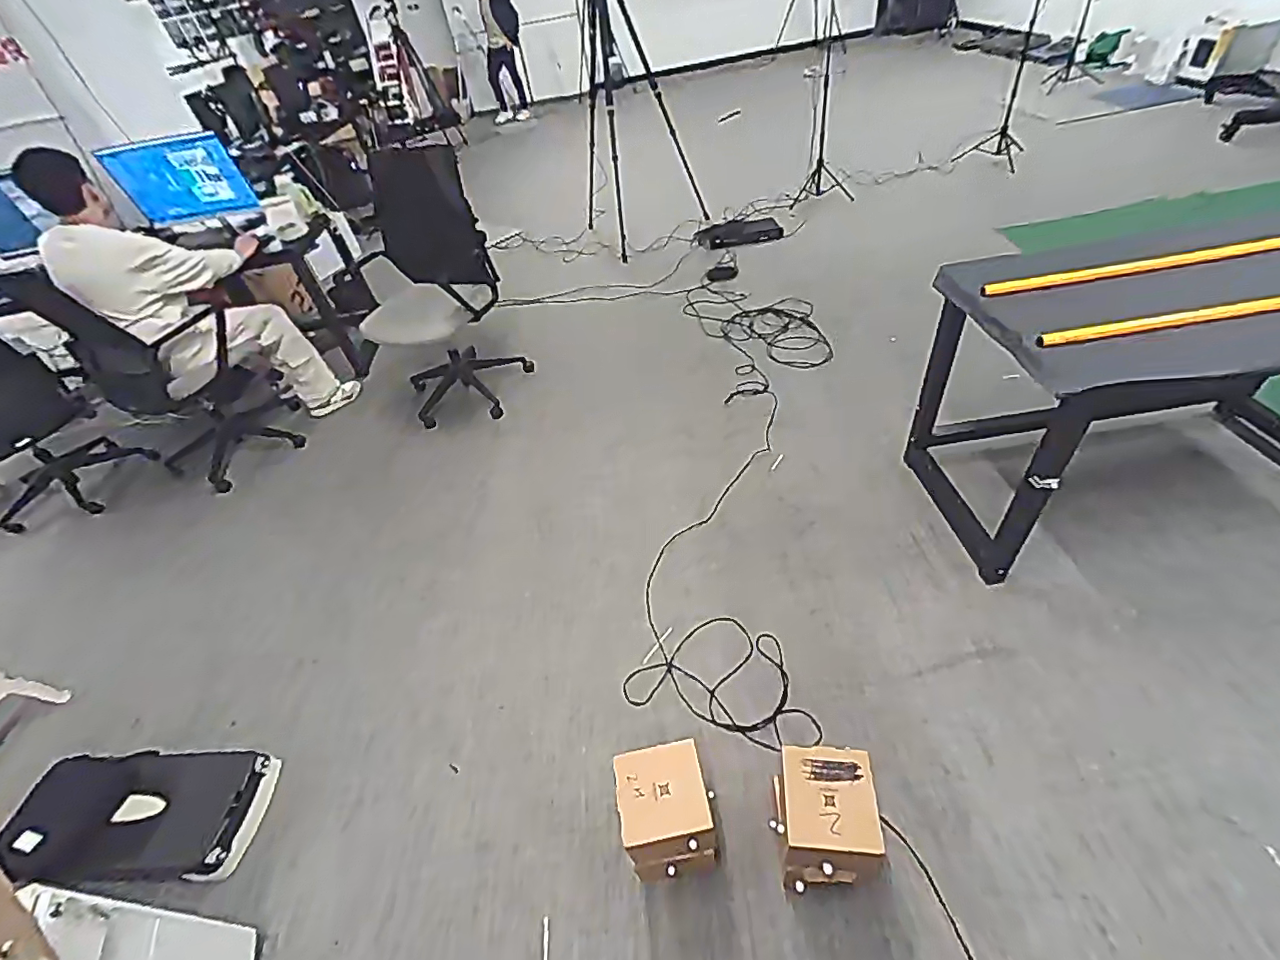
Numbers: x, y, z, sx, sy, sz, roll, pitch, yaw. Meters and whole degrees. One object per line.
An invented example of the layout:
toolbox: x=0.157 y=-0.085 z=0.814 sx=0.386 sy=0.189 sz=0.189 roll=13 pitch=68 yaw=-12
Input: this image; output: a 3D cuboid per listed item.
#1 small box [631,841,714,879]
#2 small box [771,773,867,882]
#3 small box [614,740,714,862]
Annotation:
small box: x=0.069 y=0.787 z=1.232 sx=0.179 sy=0.176 sz=0.168 roll=-11 pitch=45 yaw=1
small box: x=0.384 y=0.766 z=1.187 sx=0.168 sy=0.176 sz=0.179 roll=-5 pitch=44 yaw=6
small box: x=0.053 y=0.667 z=1.120 sx=0.179 sy=0.176 sz=0.168 roll=-13 pitch=44 yaw=0
